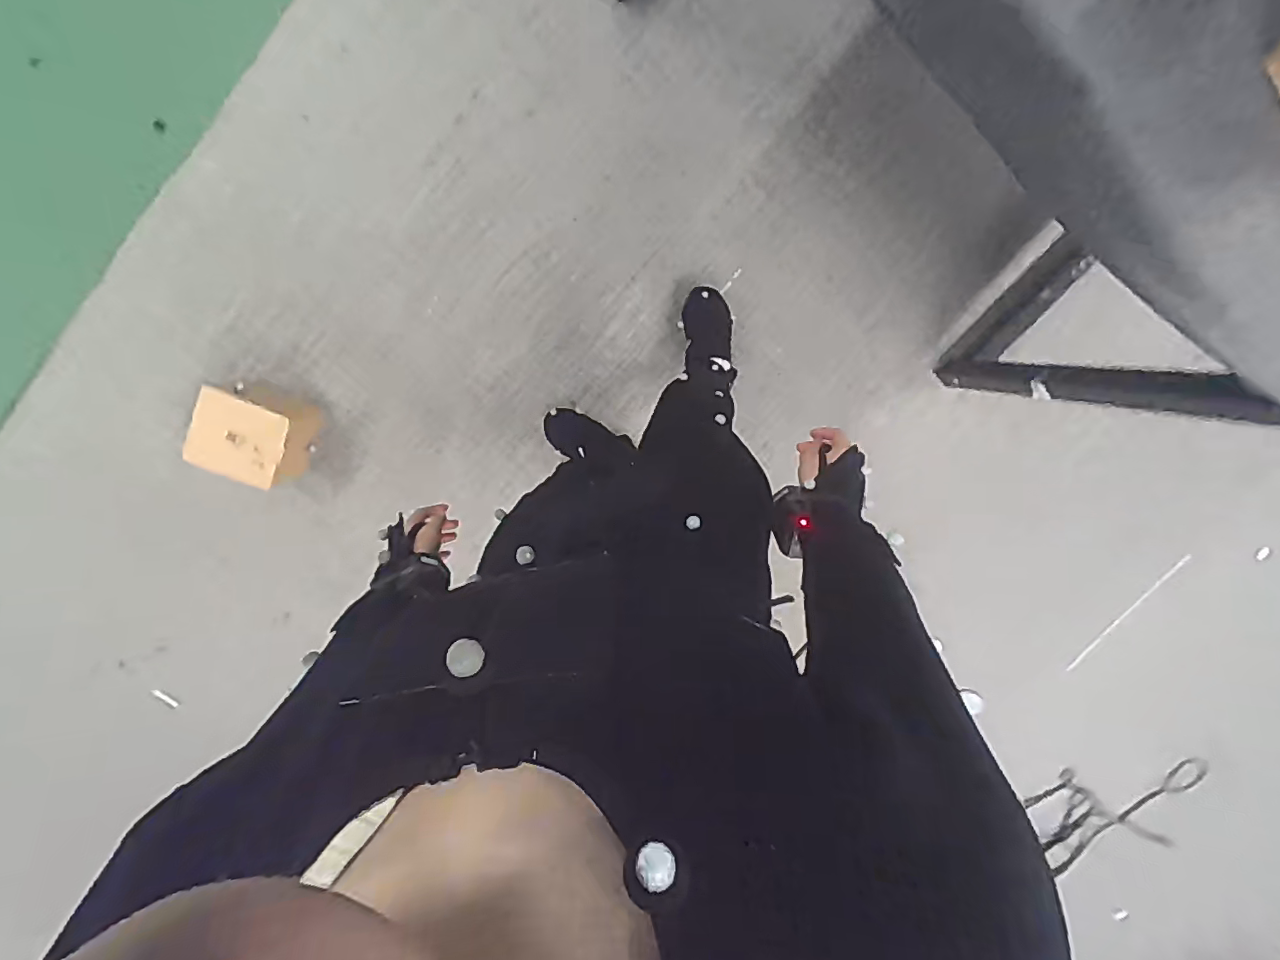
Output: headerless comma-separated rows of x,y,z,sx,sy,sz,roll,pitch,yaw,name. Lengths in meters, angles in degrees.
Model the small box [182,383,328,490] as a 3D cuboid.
-0.814,-0.100,1.159,0.179,0.176,0.168,23,102,-10,small box
